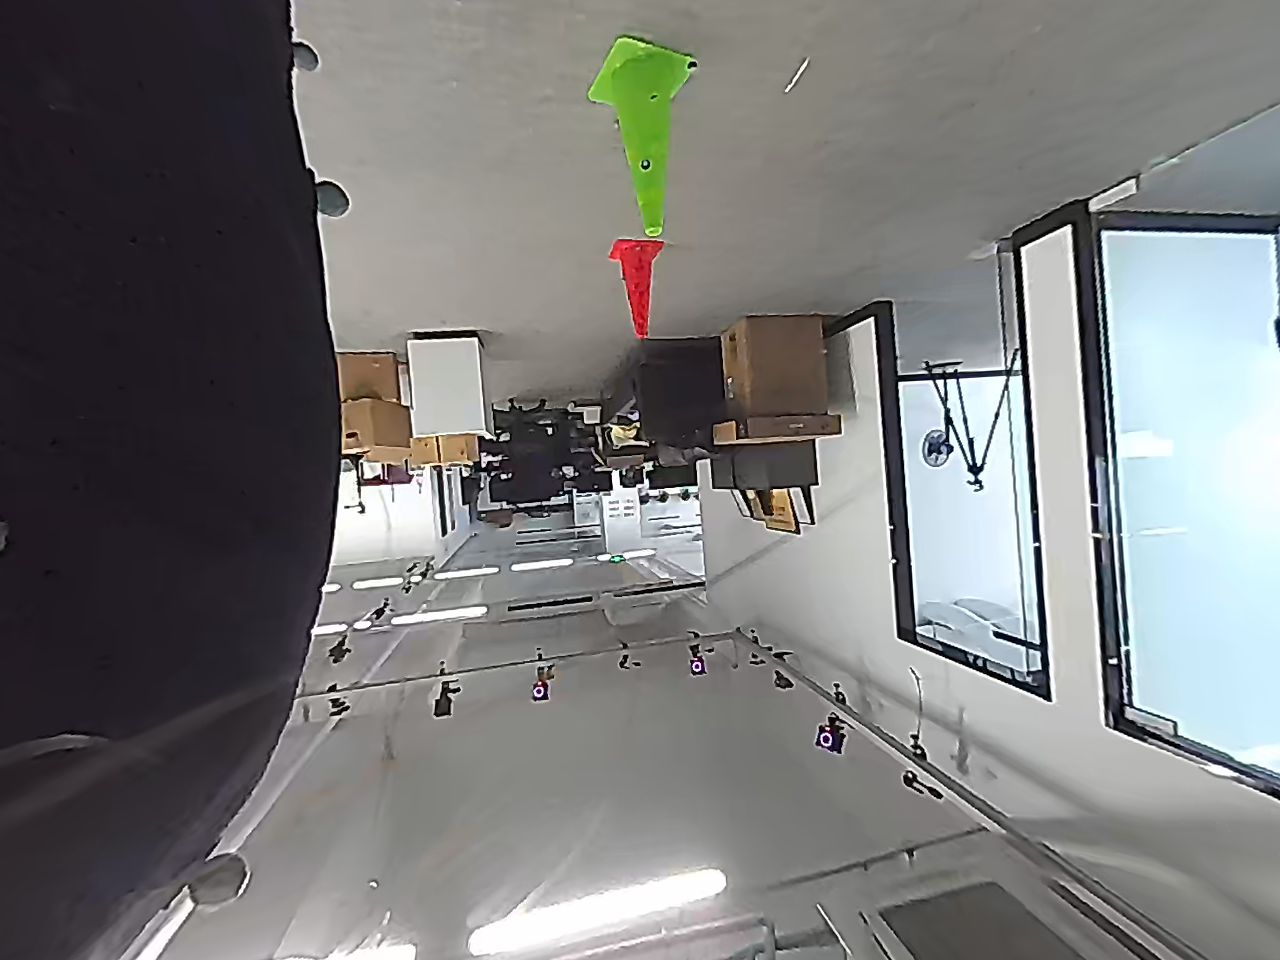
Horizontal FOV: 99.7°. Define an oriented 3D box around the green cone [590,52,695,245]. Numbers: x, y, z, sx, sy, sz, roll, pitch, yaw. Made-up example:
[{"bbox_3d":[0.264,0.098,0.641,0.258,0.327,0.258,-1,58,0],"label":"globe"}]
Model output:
[{"bbox_3d":[0.017,-0.741,1.264,0.200,0.368,0.202,-5,180,-24],"label":"green cone"}]
